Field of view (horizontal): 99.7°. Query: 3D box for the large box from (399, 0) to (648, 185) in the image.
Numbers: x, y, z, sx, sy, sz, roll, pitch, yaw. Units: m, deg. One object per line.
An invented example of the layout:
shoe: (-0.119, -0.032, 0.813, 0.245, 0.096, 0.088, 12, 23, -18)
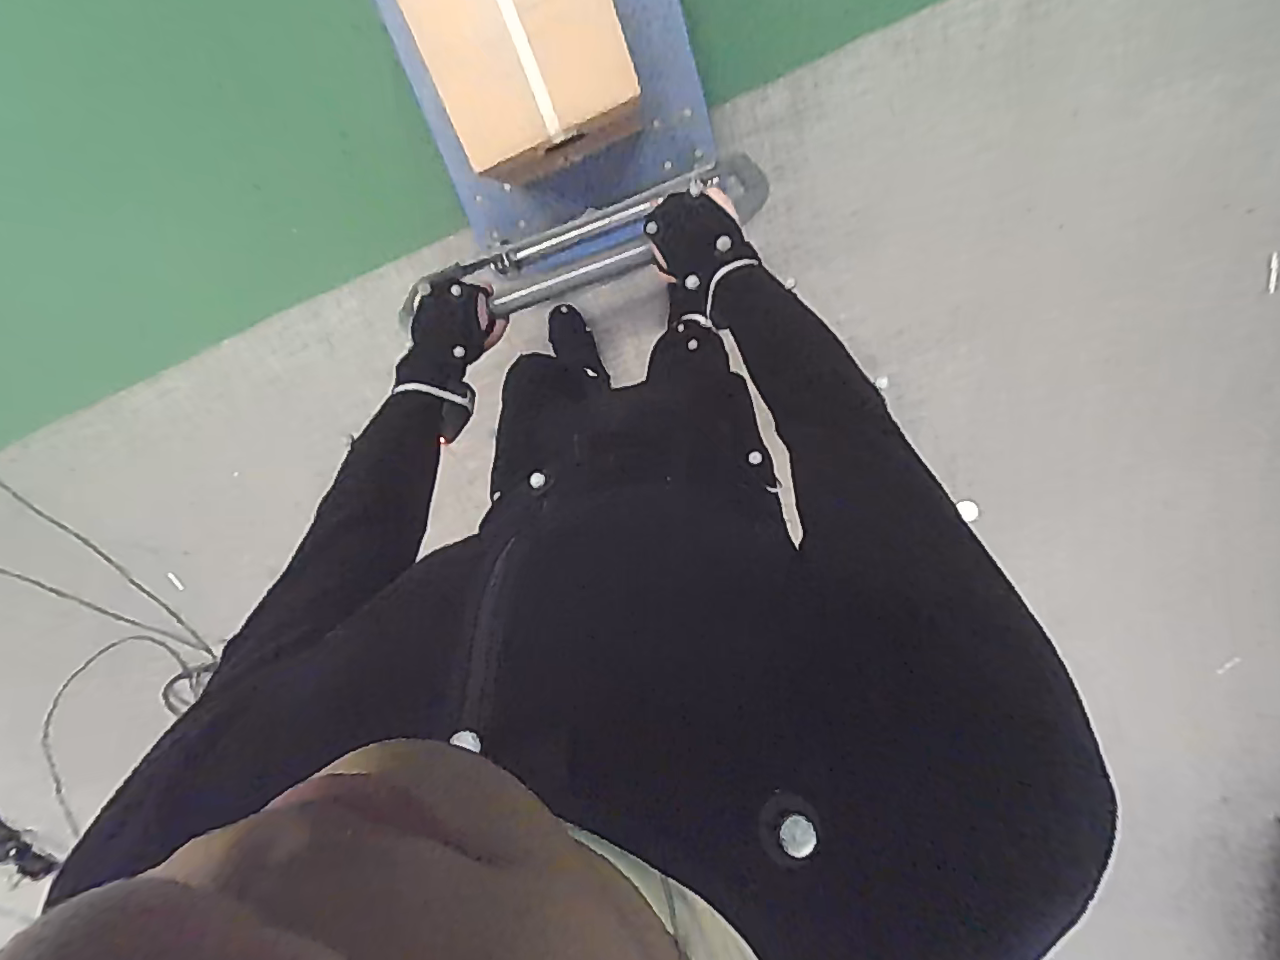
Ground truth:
large box: (-0.203, -0.810, 0.973, 0.320, 0.320, 0.408, -19, 113, 11)
